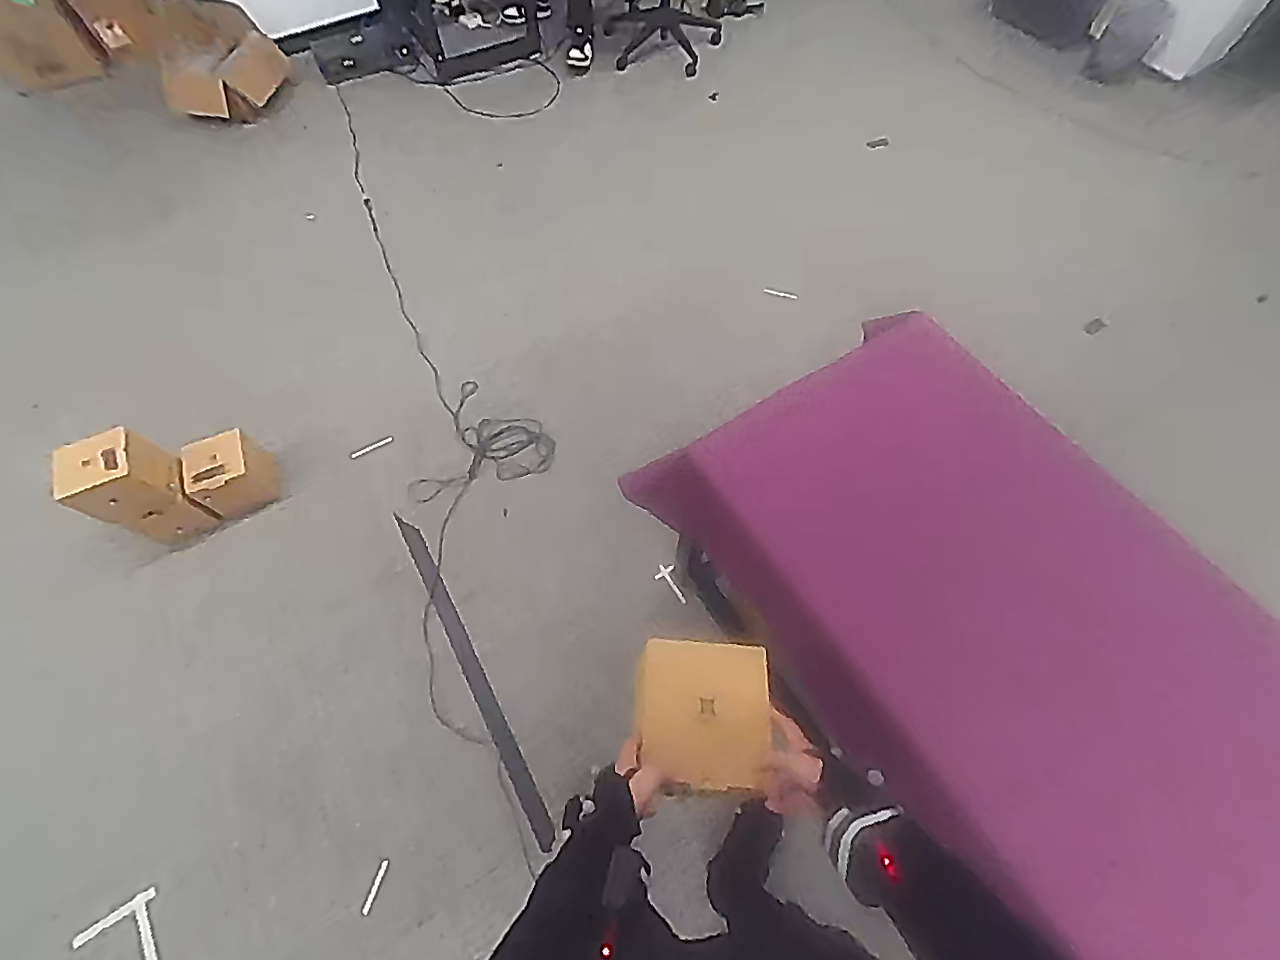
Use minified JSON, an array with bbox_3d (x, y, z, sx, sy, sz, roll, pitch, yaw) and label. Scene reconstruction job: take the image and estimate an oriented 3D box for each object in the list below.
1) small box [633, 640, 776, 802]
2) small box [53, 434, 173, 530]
[{"bbox_3d":[0.081,0.340,0.756,0.168,0.176,0.179,5,57,-2],"label":"small box"},{"bbox_3d":[-1.409,0.010,1.458,0.179,0.176,0.168,-25,65,-11],"label":"small box"}]
